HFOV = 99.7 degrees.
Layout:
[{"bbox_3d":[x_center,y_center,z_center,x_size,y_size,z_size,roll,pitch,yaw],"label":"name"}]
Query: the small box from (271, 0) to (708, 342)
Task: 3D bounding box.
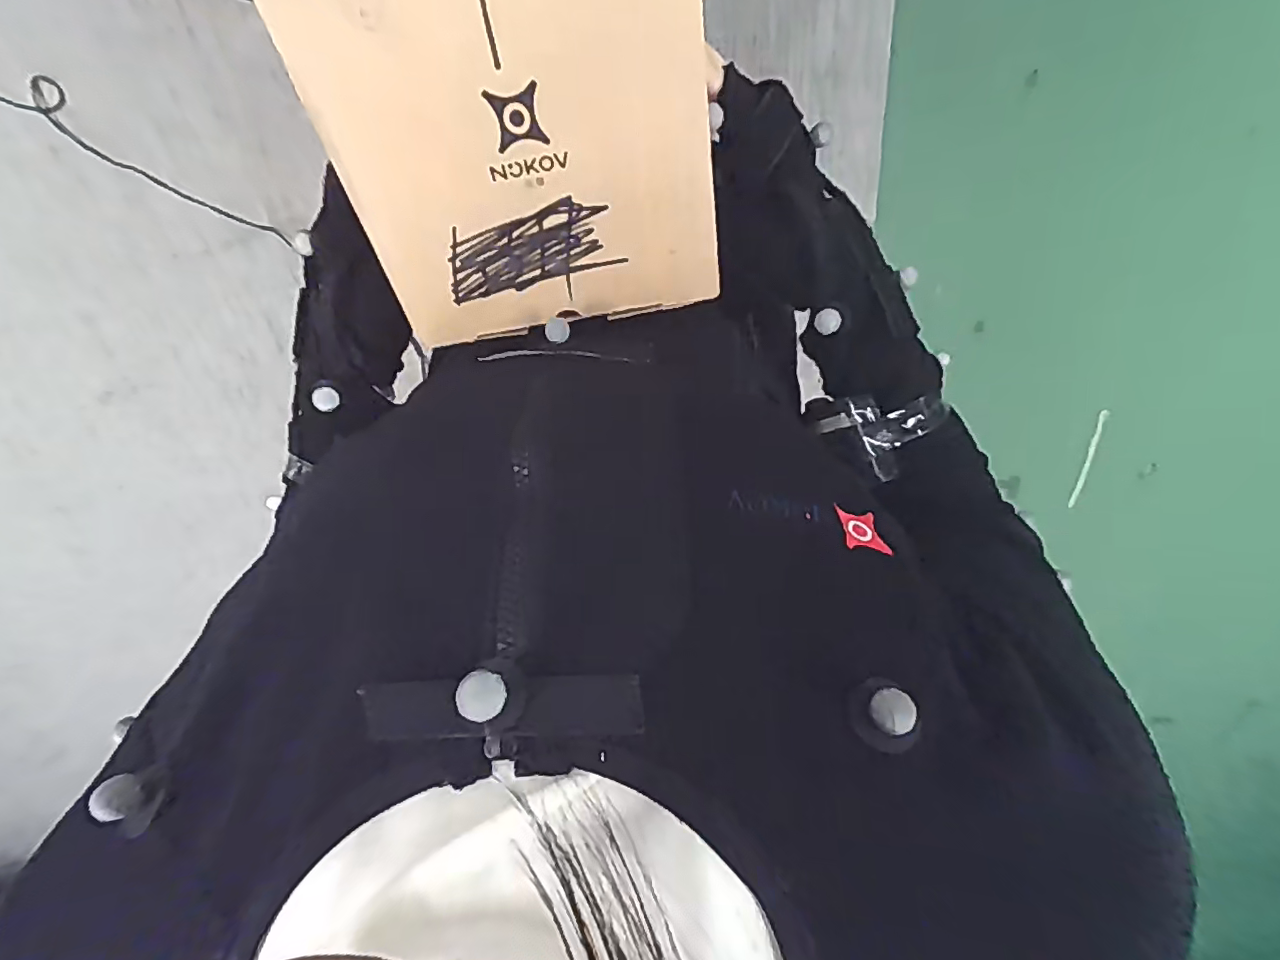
[{"bbox_3d":[-0.056,-0.204,0.301,0.168,0.176,0.179,-8,132,3],"label":"small box"}]
